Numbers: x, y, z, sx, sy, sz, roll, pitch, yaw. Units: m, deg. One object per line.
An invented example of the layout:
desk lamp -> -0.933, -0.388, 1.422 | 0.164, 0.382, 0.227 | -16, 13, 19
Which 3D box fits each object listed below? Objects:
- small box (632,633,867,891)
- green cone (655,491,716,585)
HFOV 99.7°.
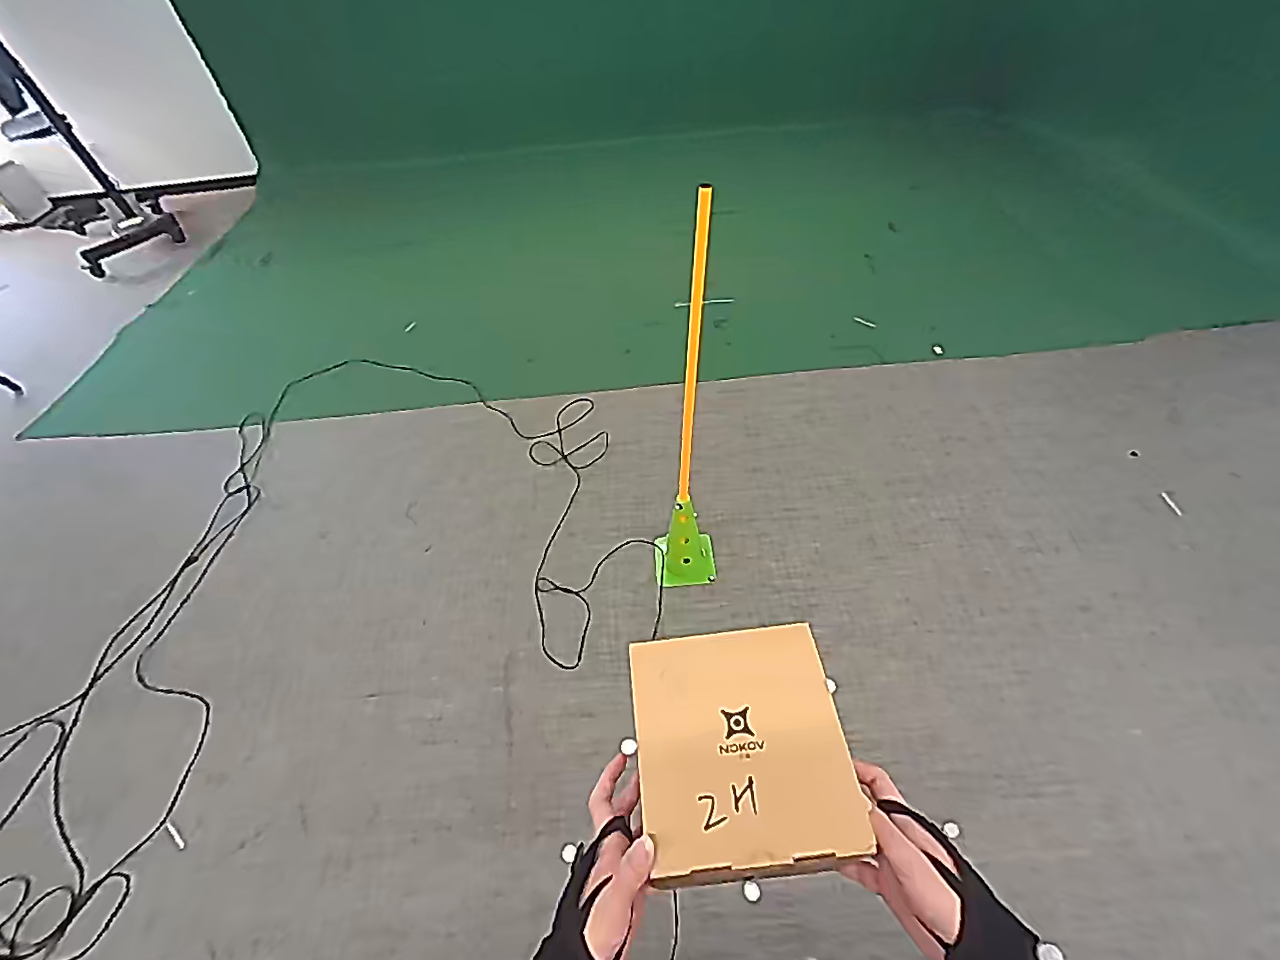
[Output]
small box -> 0.082, 0.263, 0.503 | 0.168, 0.176, 0.179 | -6, 51, 1
green cone -> 0.140, 0.160, 1.751 | 0.202, 0.368, 0.200 | -6, 49, 2
